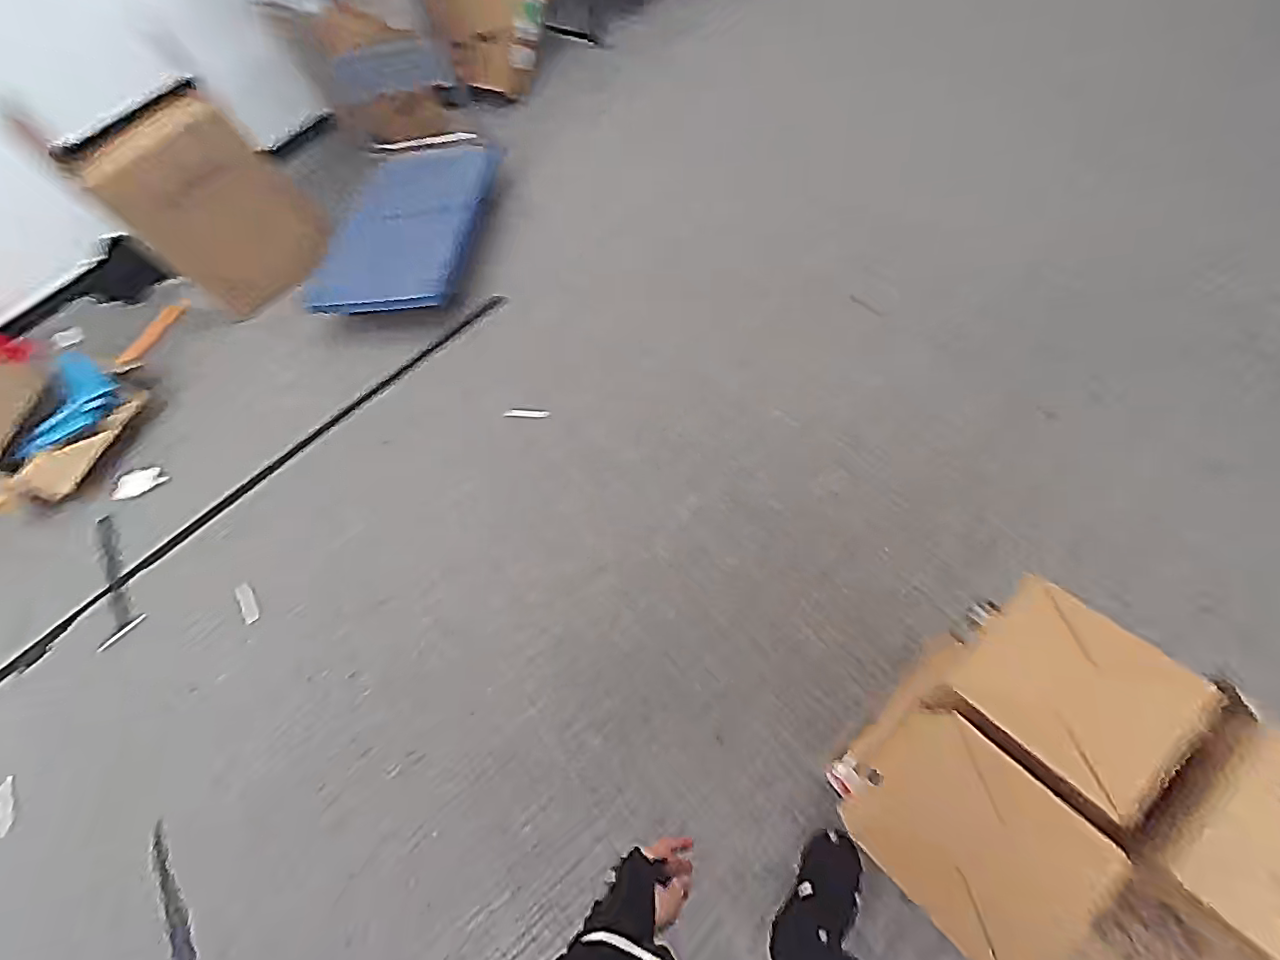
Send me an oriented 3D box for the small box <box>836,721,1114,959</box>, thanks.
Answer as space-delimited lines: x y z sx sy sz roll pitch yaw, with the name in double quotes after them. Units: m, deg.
0.342 0.385 0.586 0.168 0.176 0.179 -44 61 -6 "small box"
